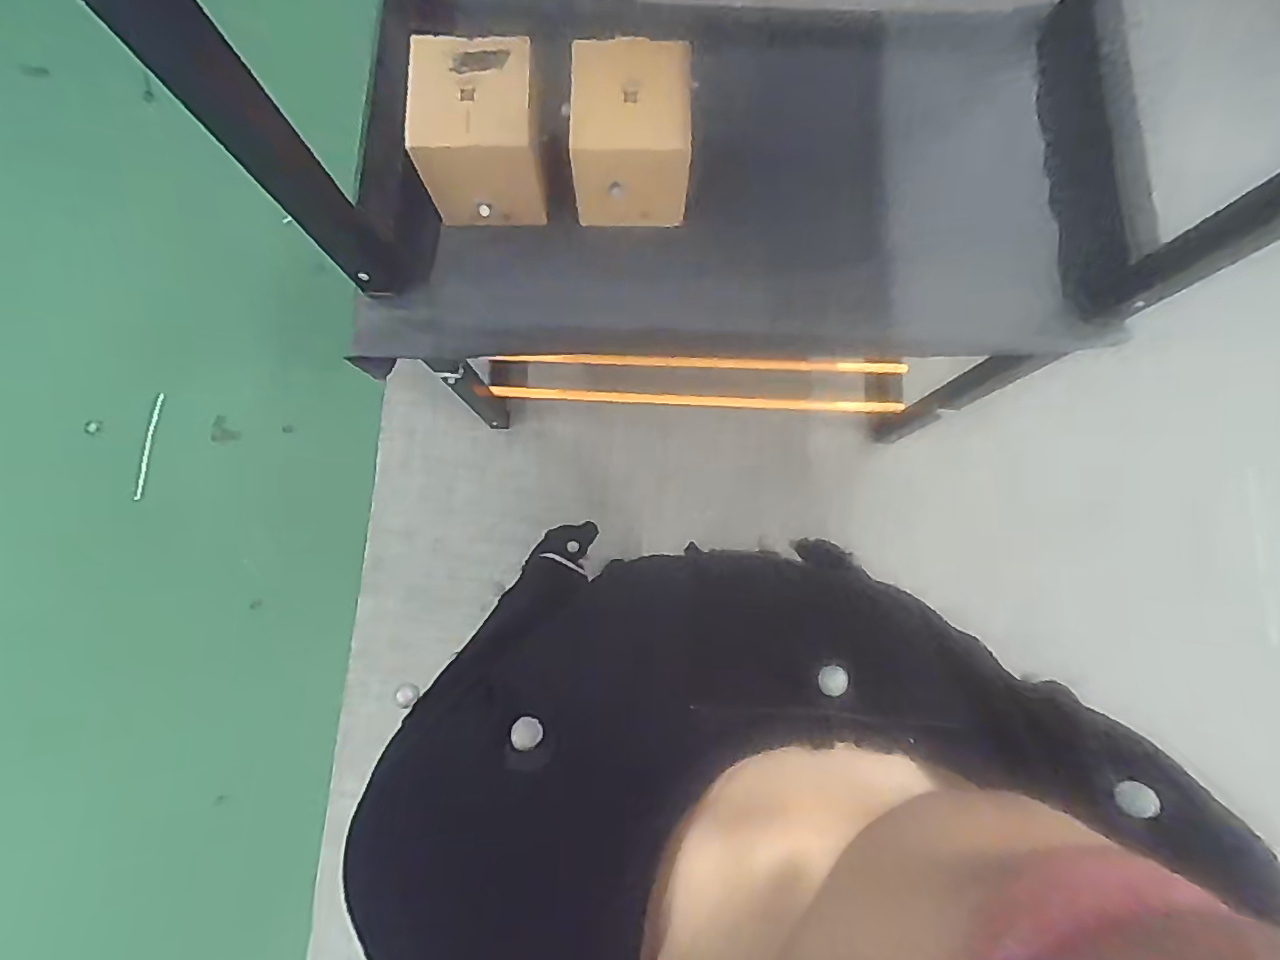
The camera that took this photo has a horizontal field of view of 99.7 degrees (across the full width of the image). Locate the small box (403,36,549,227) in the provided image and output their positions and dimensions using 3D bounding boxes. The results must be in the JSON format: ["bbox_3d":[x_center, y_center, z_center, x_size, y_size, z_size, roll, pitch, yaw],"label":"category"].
[{"bbox_3d":[-0.232,-0.510,0.807,0.168,0.176,0.179,0,80,0],"label":"small box"}]
